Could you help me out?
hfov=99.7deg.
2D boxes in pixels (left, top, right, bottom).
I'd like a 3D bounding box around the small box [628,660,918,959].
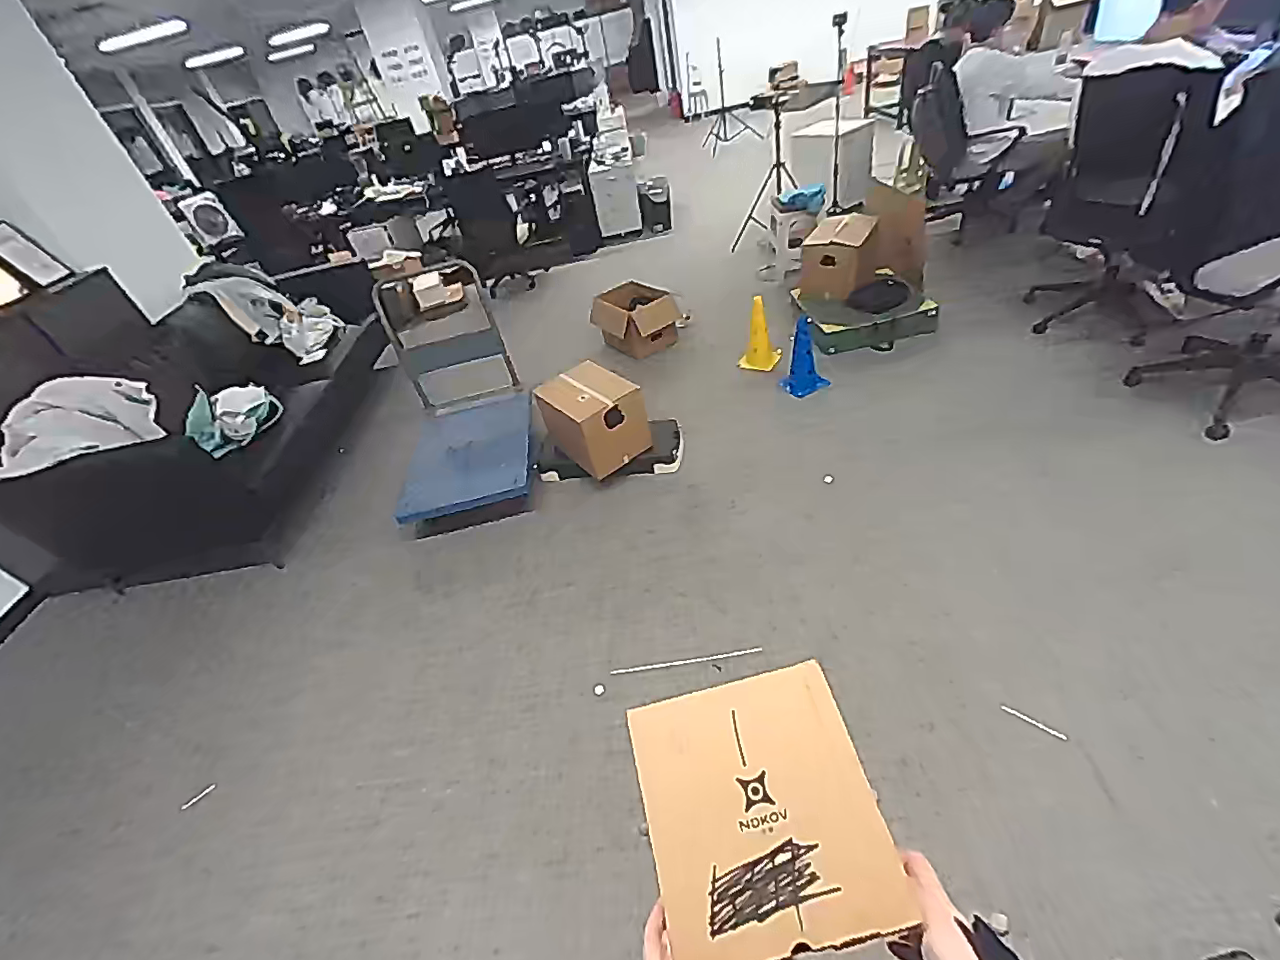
[{"bbox_3d":[0.096,0.277,0.458,0.168,0.176,0.179,-14,56,-1],"label":"small box"}]
